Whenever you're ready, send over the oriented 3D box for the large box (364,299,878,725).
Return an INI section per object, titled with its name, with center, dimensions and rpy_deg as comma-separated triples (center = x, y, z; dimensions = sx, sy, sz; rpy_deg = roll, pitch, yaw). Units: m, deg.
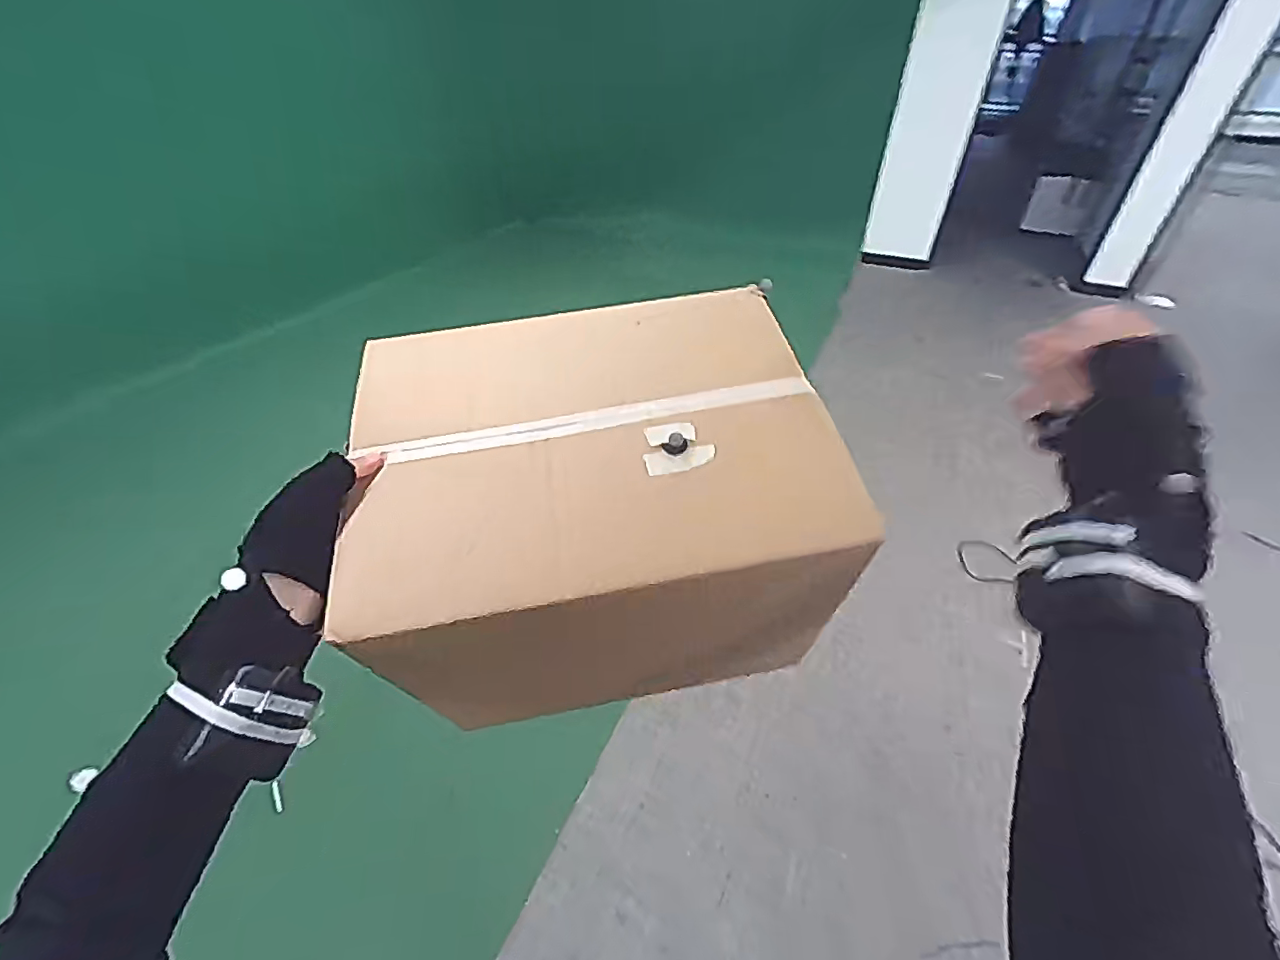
[large box]
center = -0.032, 0.042, 0.608
dimensions = 0.408, 0.320, 0.320
rpy_deg = -10, 55, -6
